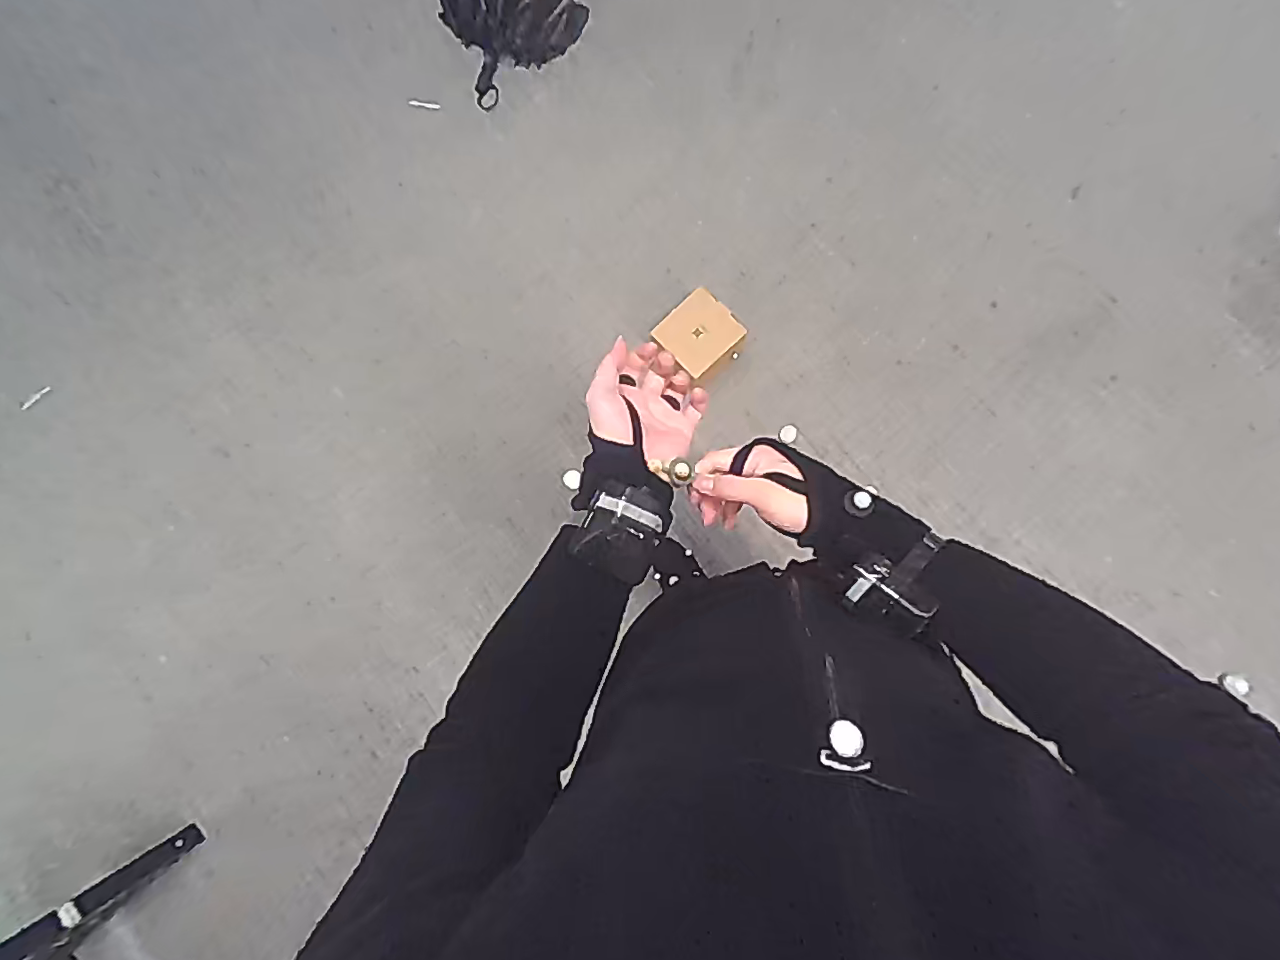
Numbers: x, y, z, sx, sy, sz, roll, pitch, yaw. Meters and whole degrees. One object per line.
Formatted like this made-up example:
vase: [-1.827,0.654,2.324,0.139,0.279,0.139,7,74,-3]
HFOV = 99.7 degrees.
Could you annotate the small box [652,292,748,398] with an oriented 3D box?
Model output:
small box: [0.148,-0.337,1.381,0.179,0.176,0.168,-43,83,0]
